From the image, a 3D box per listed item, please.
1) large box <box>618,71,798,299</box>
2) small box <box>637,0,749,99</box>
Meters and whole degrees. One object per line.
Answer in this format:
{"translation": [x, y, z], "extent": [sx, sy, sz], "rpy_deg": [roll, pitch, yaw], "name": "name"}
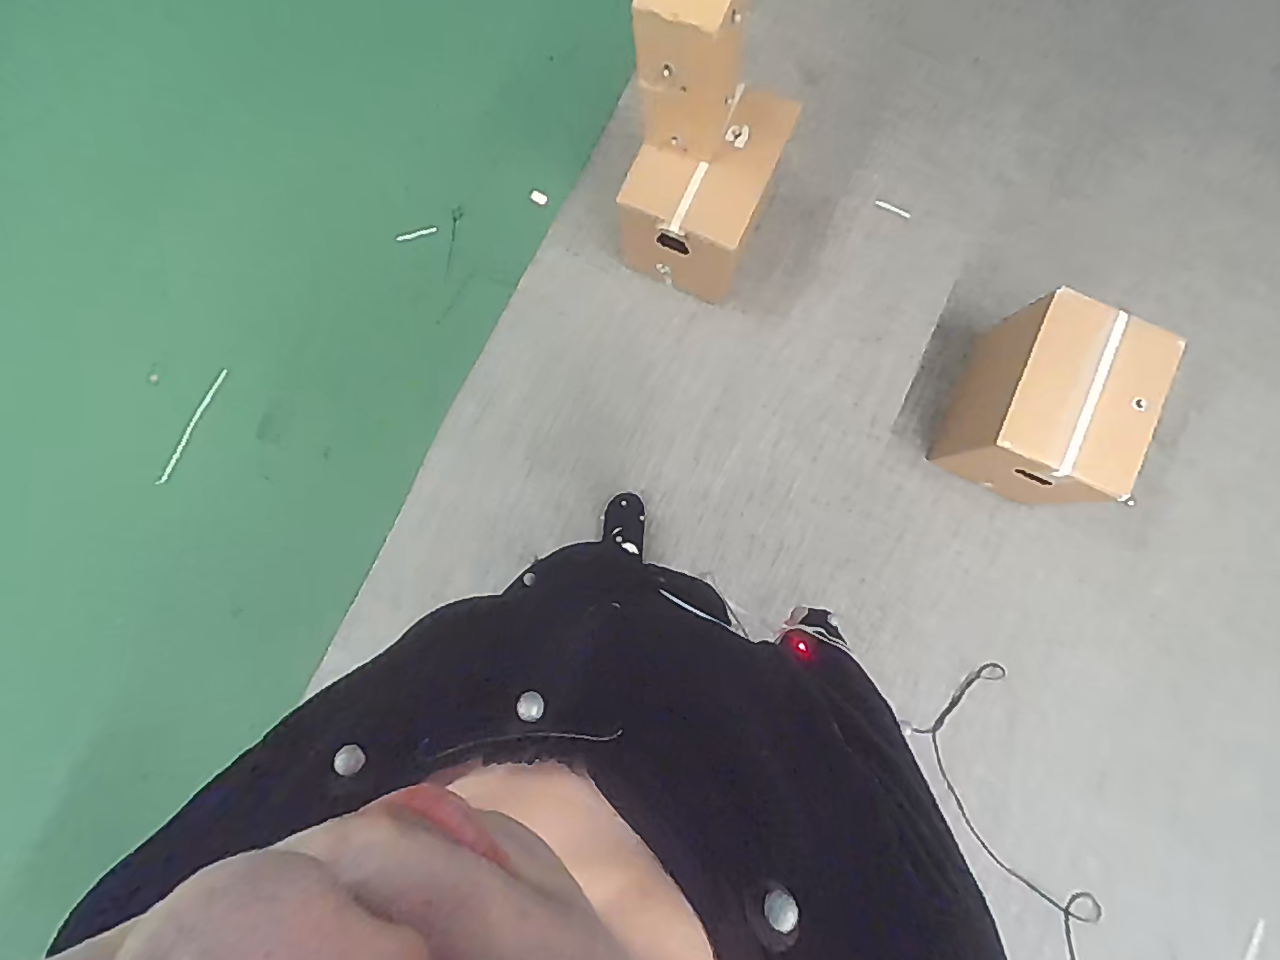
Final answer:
{"translation": [0.168, -0.768, 1.430], "extent": [0.320, 0.320, 0.408], "rpy_deg": [25, 85, 3], "name": "large box"}
{"translation": [0.104, -0.889, 1.033], "extent": [0.168, 0.176, 0.179], "rpy_deg": [24, 87, 6], "name": "small box"}
